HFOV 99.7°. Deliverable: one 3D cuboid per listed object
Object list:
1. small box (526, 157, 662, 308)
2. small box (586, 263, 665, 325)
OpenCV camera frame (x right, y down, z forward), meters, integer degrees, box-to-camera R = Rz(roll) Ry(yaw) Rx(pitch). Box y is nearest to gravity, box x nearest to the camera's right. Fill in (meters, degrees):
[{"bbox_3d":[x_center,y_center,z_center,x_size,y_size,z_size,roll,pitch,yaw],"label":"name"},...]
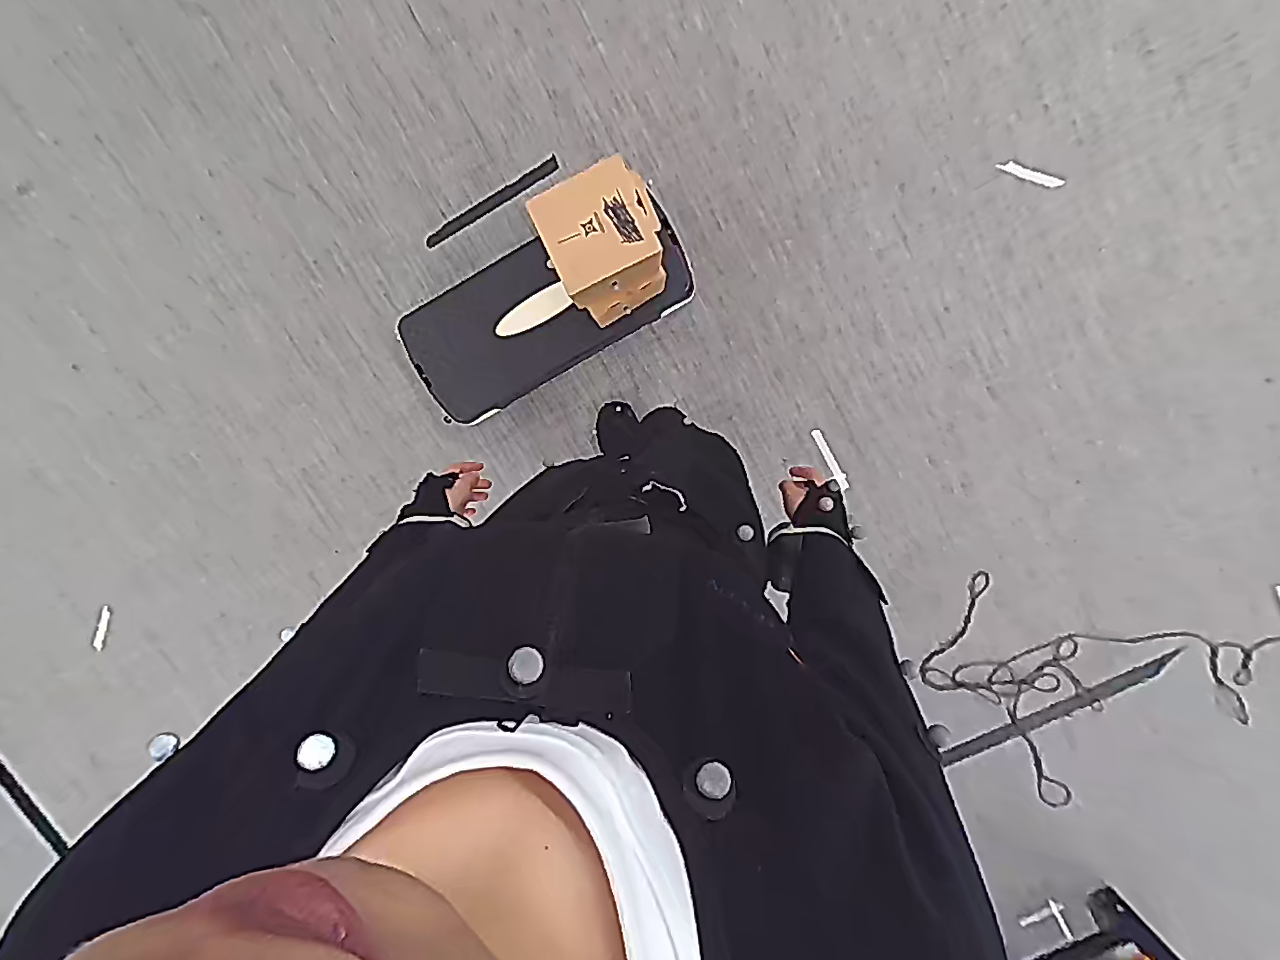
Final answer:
[{"bbox_3d":[-0.075,-0.424,0.957,0.179,0.176,0.168,-25,99,5],"label":"small box"},{"bbox_3d":[-0.065,-0.442,1.121,0.168,0.176,0.179,-30,99,5],"label":"small box"}]
